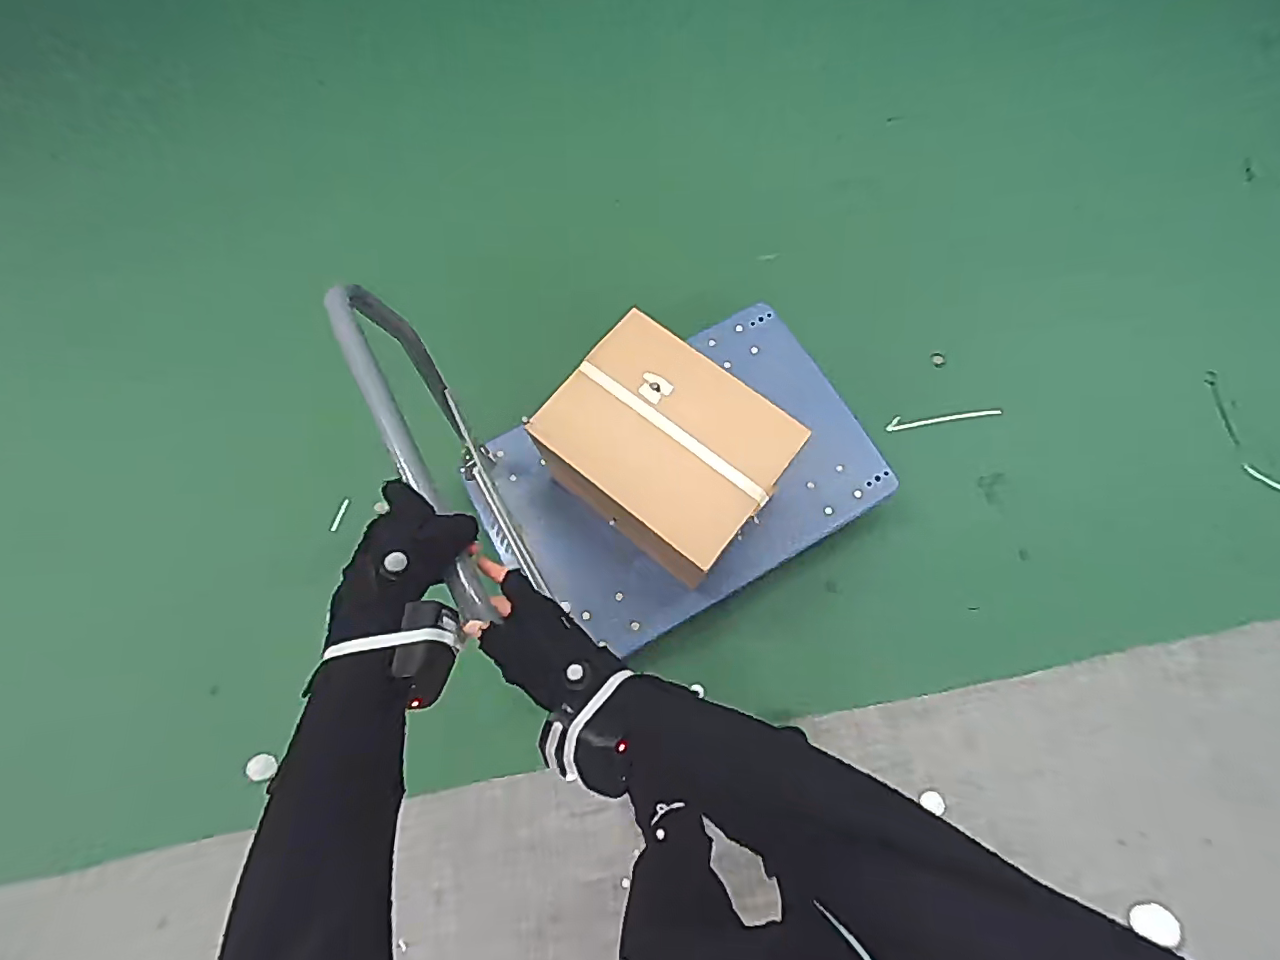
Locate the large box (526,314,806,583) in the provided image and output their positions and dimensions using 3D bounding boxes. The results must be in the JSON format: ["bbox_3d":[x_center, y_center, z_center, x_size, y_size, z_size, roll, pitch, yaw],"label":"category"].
[{"bbox_3d":[0.051,-0.043,1.092,0.408,0.320,0.320,38,77,12],"label":"large box"}]
